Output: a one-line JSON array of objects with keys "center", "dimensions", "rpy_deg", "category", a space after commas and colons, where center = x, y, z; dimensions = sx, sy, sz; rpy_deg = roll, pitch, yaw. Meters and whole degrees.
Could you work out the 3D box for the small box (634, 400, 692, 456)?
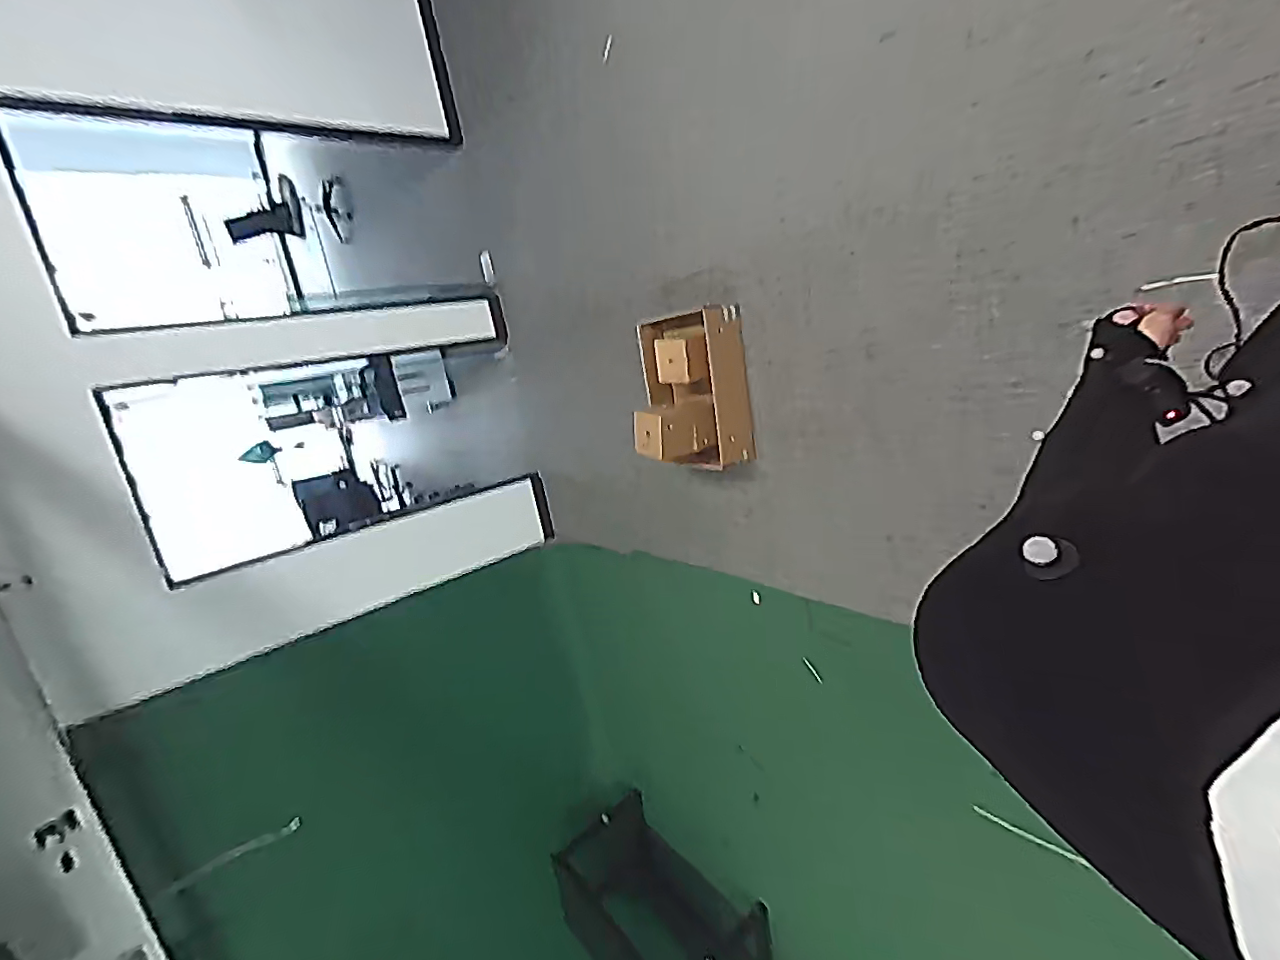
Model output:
[{"center": [0.093, -0.212, 2.126], "dimensions": [0.168, 0.176, 0.179], "rpy_deg": [22, 122, 48], "category": "small box"}]
